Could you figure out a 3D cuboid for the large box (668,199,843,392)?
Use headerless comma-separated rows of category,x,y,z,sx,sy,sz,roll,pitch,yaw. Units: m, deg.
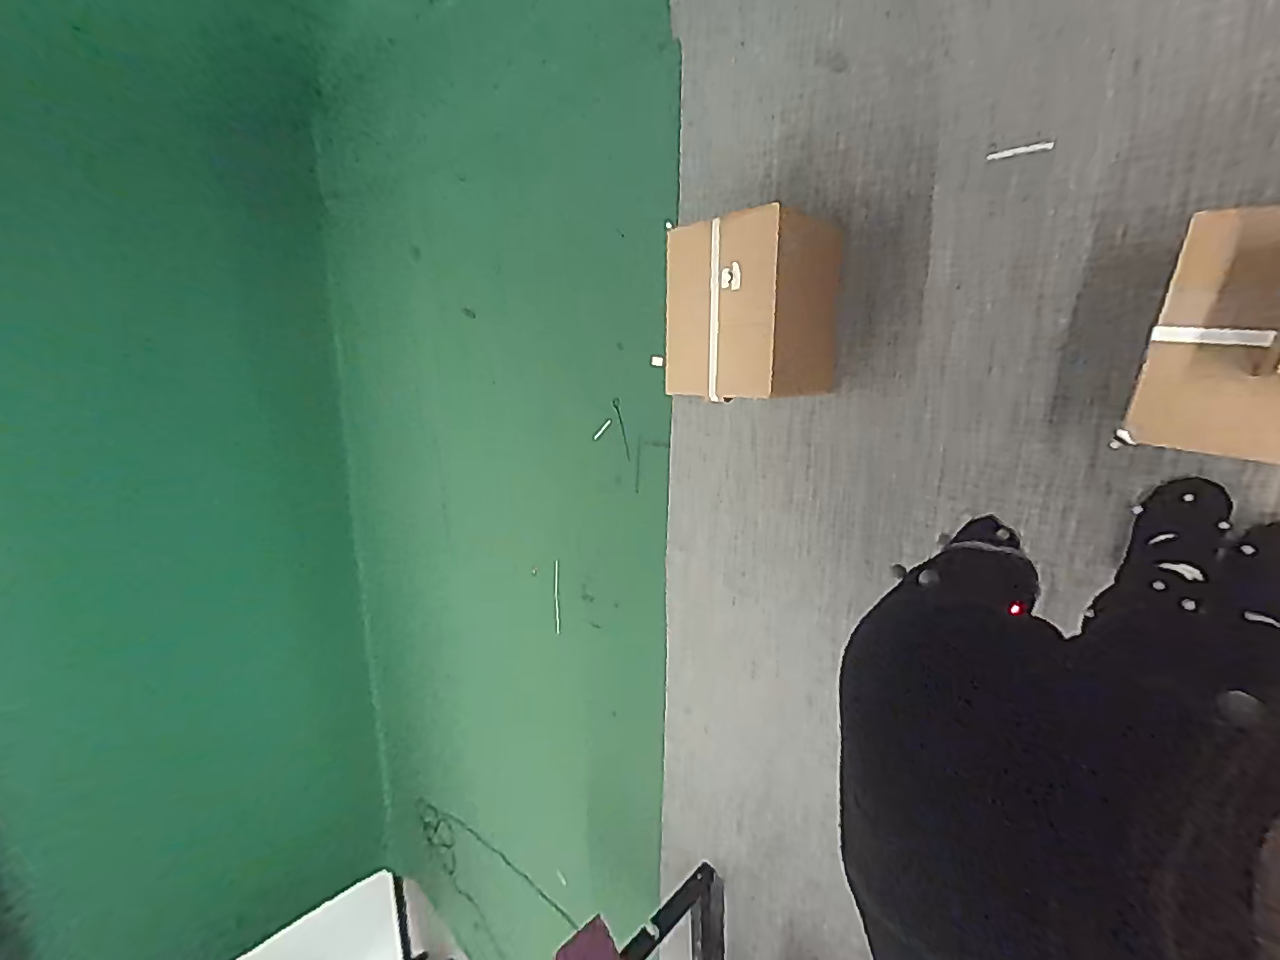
large box,0.286,-0.427,1.357,0.320,0.320,0.408,12,106,43

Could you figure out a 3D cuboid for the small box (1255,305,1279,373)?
small box,0.800,-0.183,0.556,0.179,0.176,0.168,23,112,40
